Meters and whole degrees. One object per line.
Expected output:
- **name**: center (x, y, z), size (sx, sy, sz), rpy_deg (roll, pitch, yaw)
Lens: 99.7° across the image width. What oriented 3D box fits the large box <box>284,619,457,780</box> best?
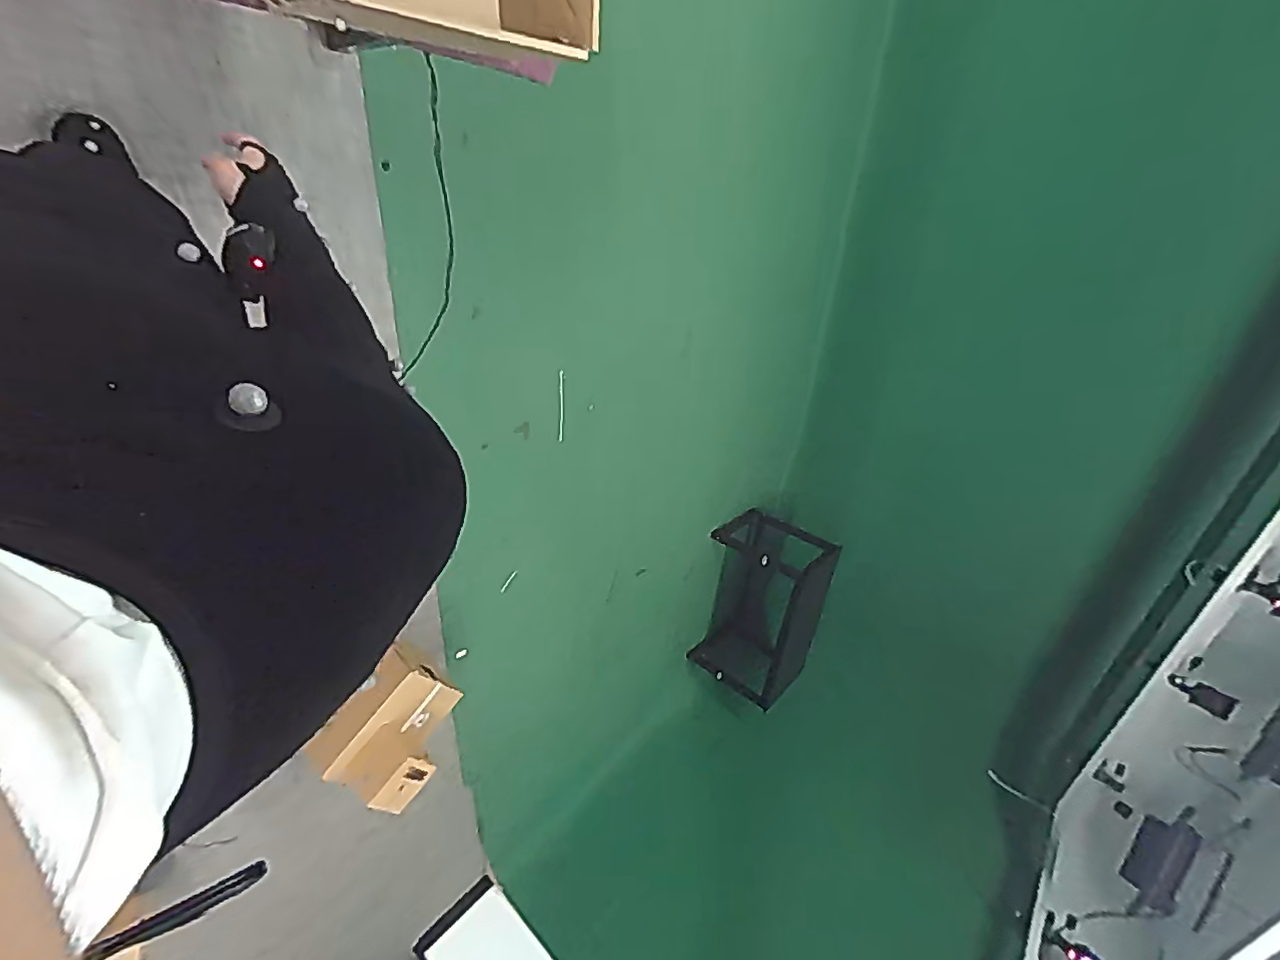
- **large box**: center (-0.963, 0.788, 1.950), size (0.408, 0.320, 0.320), rpy_deg (-52, 146, -18)
